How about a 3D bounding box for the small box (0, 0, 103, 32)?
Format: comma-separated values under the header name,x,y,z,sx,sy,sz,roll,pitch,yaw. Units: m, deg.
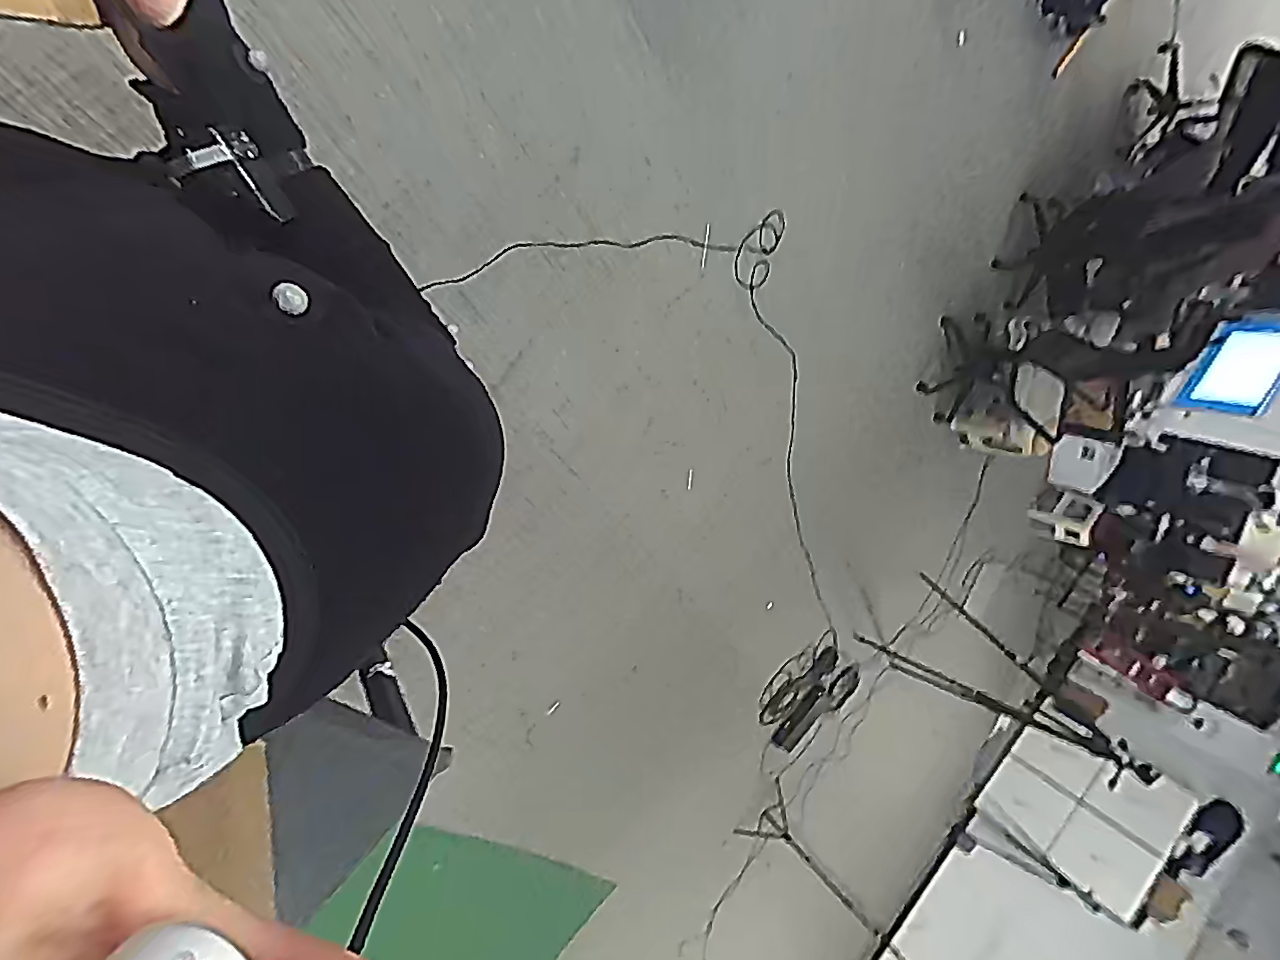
name,x,y,z,sx,sy,sz,roll,pitch,yaw
small box,-0.350,-0.279,0.193,0.179,0.176,0.168,-14,131,-29
